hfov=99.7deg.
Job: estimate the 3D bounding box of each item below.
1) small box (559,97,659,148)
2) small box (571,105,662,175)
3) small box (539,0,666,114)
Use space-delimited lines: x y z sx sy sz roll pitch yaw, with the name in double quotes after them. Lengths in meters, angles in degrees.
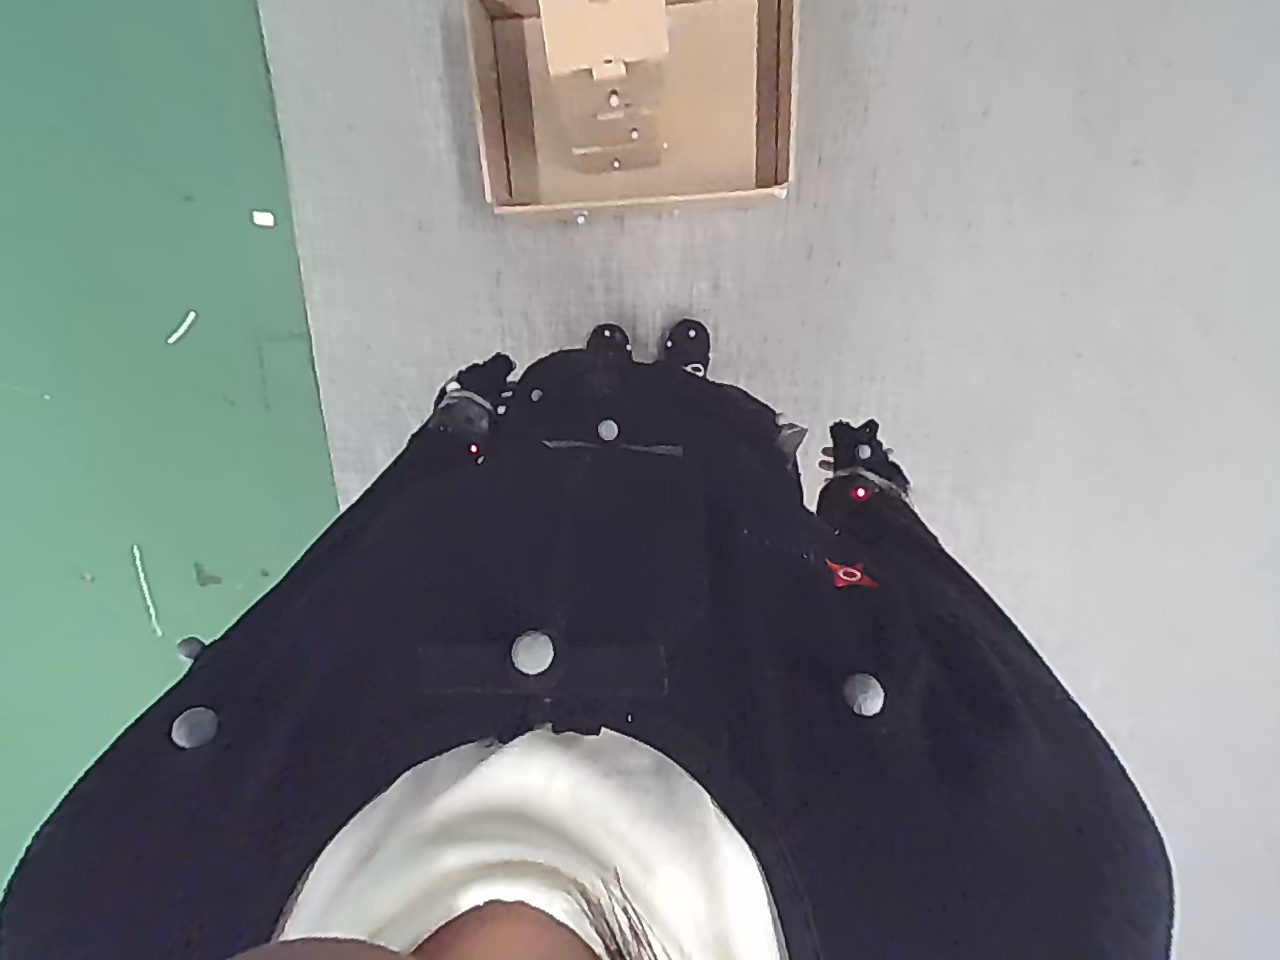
-0.050 -0.697 0.939 0.168 0.176 0.179 -2 105 2 "small box"
-0.046 -0.734 1.096 0.179 0.176 0.168 -3 106 5 "small box"
-0.048 -0.655 0.781 0.168 0.176 0.179 -4 107 3 "small box"
